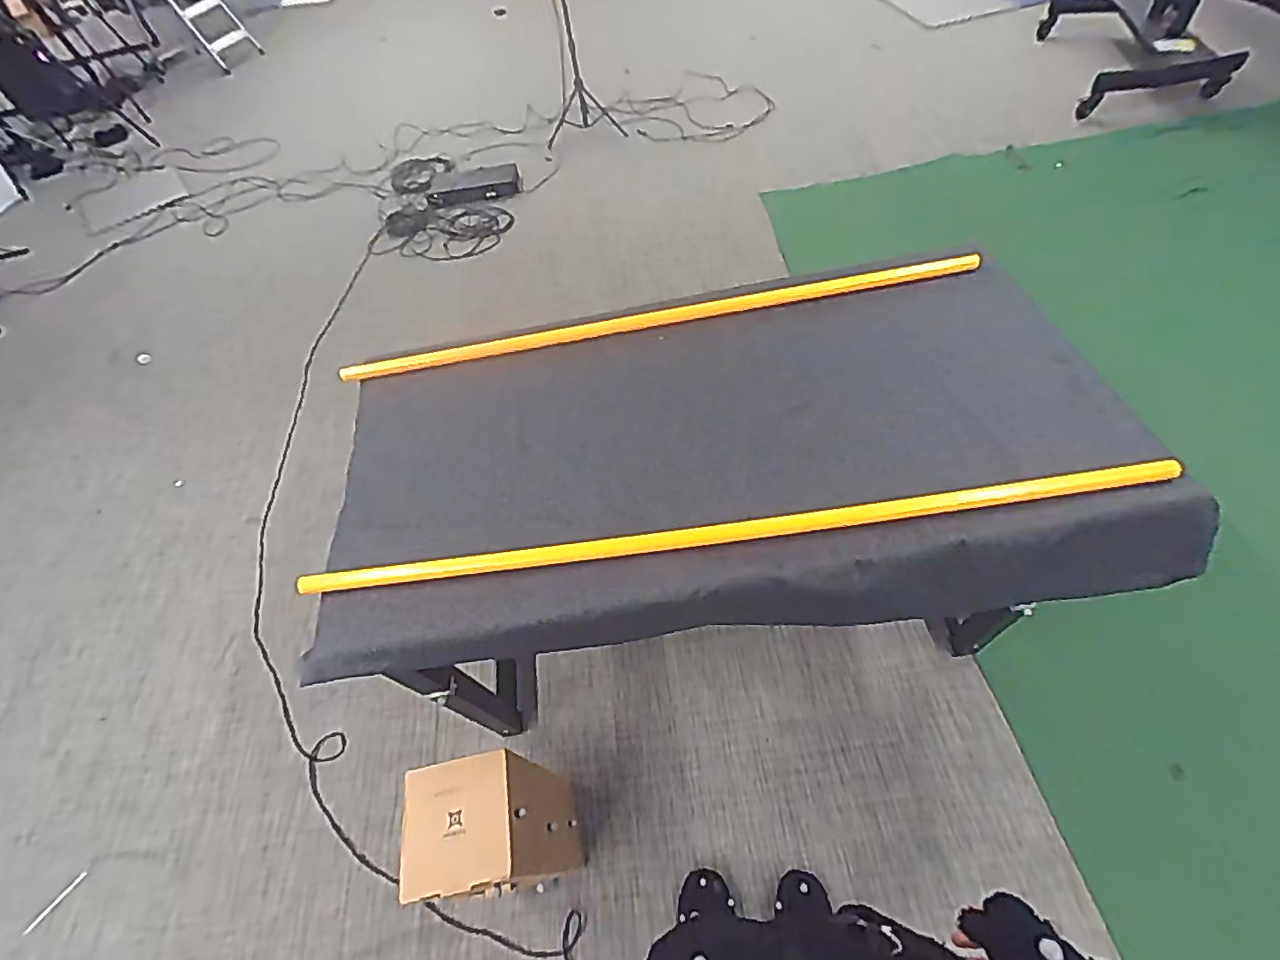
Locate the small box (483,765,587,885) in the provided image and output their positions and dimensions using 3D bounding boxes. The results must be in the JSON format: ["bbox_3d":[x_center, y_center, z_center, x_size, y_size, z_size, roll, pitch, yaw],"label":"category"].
[{"bbox_3d":[-0.221,0.734,1.154,0.168,0.176,0.179,-16,56,-2],"label":"small box"}]
